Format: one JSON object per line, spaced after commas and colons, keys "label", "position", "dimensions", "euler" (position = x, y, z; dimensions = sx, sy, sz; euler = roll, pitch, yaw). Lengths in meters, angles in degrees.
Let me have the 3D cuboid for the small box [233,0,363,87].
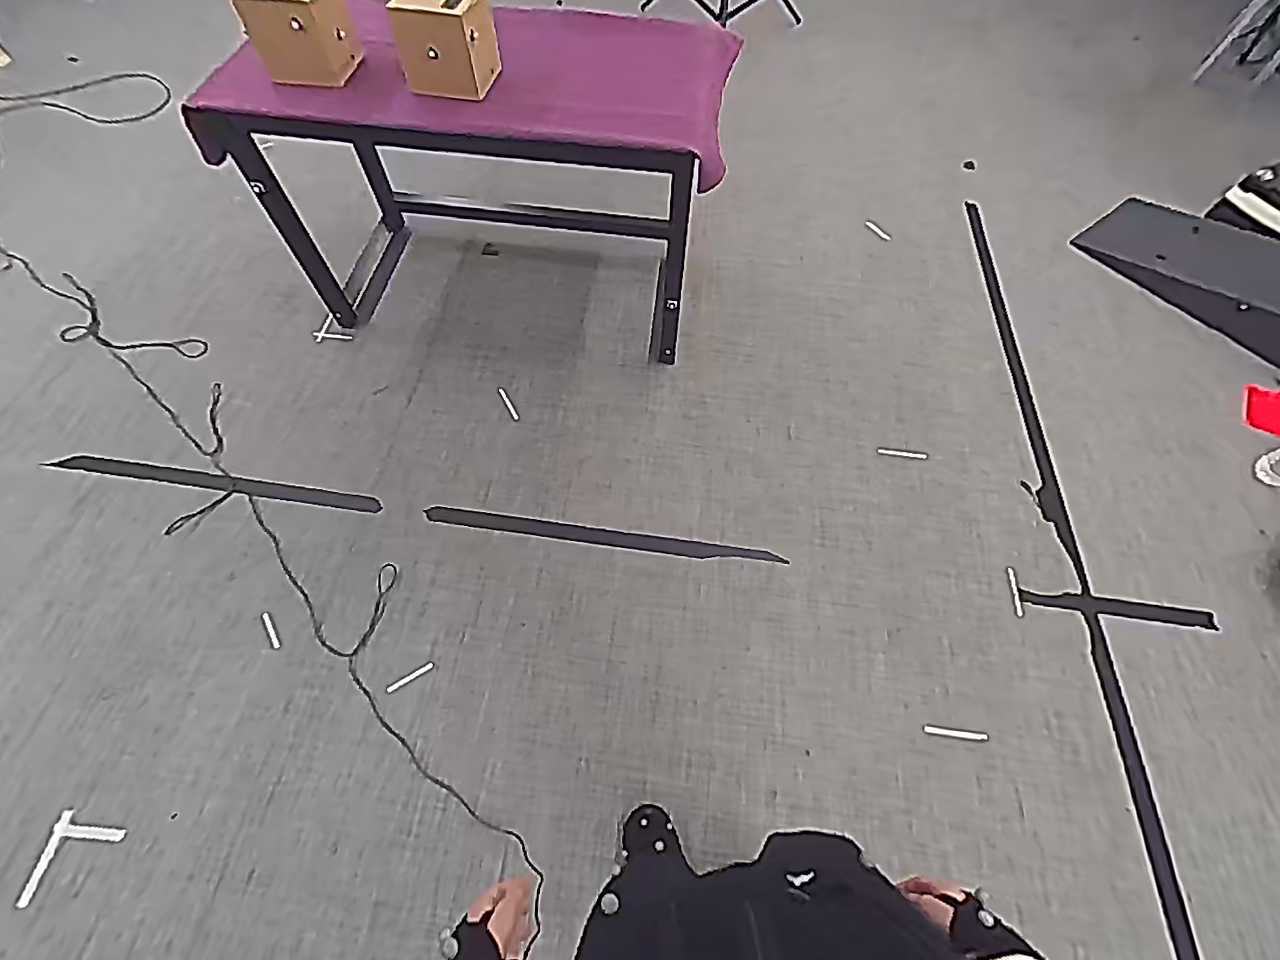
{"label": "small box", "position": [-0.787, -1.055, 1.269], "dimensions": [0.179, 0.176, 0.168], "euler": [5, 60, 1]}
